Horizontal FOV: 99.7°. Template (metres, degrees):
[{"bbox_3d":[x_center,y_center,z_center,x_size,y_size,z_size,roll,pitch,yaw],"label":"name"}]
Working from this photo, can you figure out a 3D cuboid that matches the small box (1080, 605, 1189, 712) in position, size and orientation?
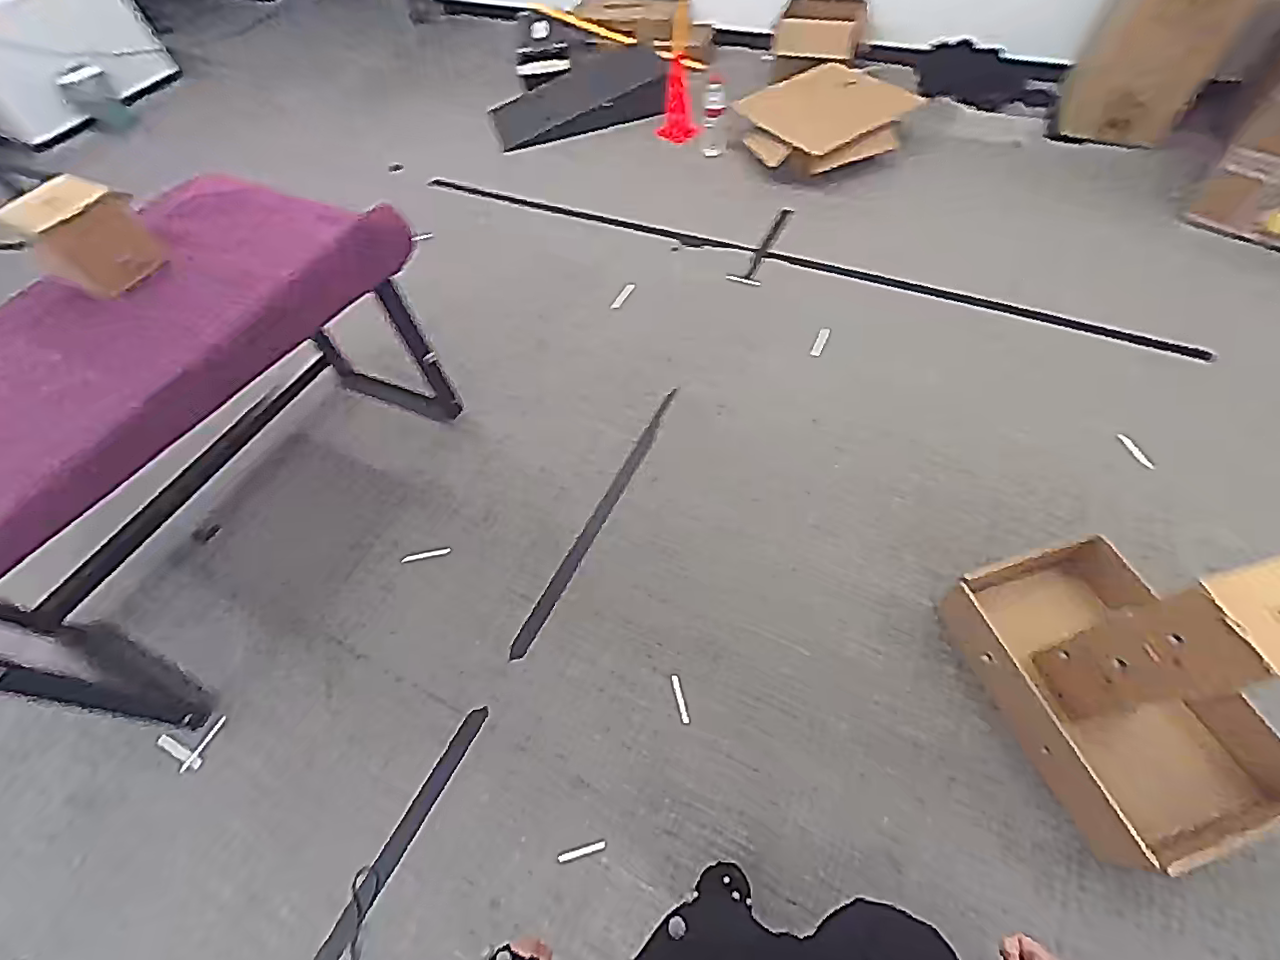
[{"bbox_3d":[1.044,0.354,1.088,0.179,0.176,0.168,-13,59,-4],"label":"small box"}]

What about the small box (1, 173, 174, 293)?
[{"bbox_3d":[-1.223,-0.548,1.211,0.179,0.176,0.168,22,63,16],"label":"small box"}]

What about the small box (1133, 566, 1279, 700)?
[{"bbox_3d":[1.045,0.270,0.947,0.179,0.176,0.168,-13,59,-5],"label":"small box"}]
